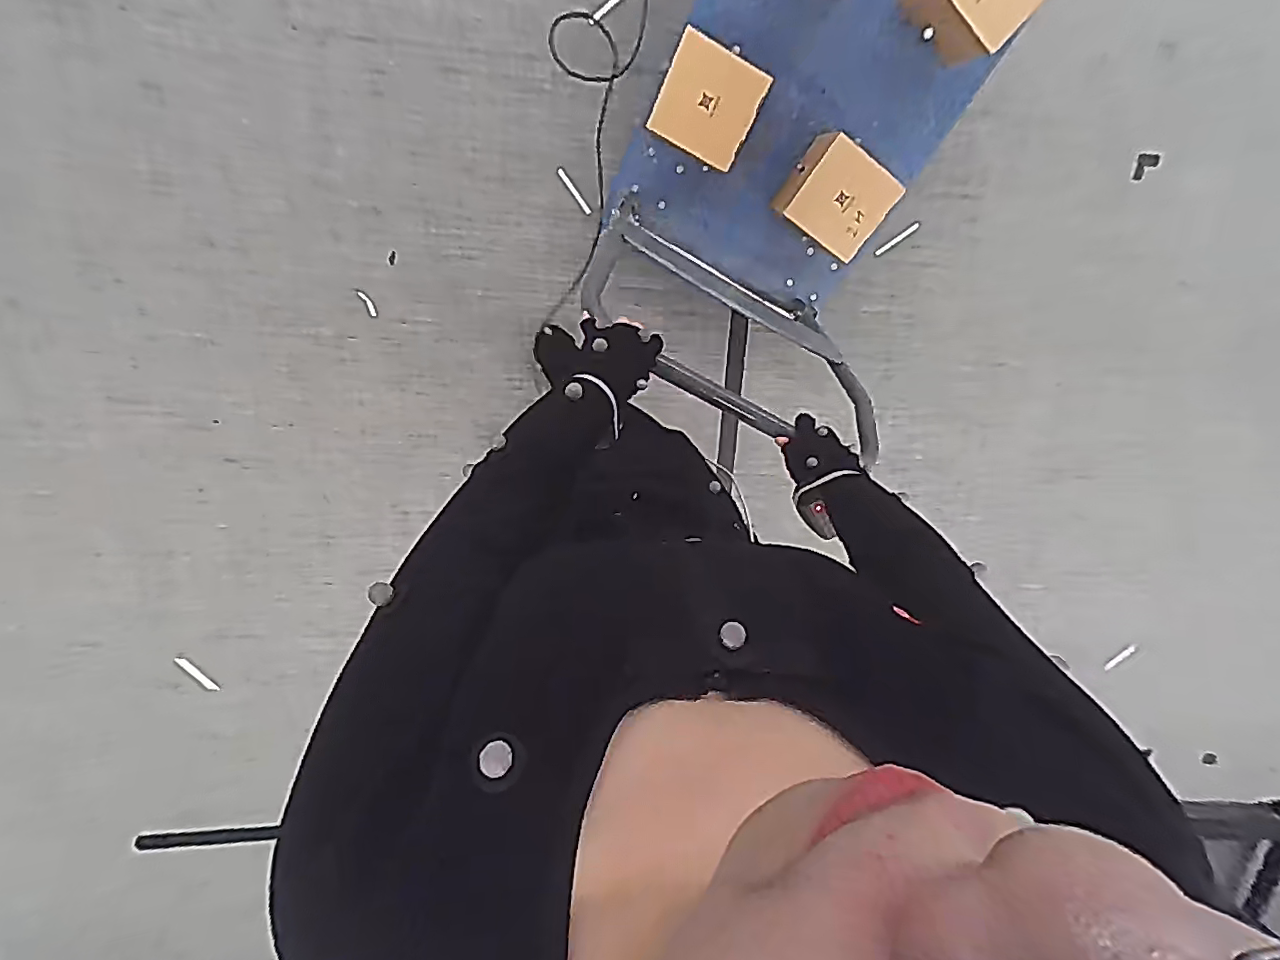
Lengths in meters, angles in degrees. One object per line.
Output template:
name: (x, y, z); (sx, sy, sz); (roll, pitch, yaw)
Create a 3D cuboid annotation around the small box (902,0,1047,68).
small box: (0.602, -0.870, 0.943); (0.168, 0.176, 0.179); (36, 117, -18)

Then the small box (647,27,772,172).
small box: (0.124, -0.721, 1.047); (0.179, 0.176, 0.168); (23, 119, -13)

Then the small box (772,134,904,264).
small box: (0.398, -0.580, 1.123); (0.179, 0.176, 0.168); (31, 118, -15)
